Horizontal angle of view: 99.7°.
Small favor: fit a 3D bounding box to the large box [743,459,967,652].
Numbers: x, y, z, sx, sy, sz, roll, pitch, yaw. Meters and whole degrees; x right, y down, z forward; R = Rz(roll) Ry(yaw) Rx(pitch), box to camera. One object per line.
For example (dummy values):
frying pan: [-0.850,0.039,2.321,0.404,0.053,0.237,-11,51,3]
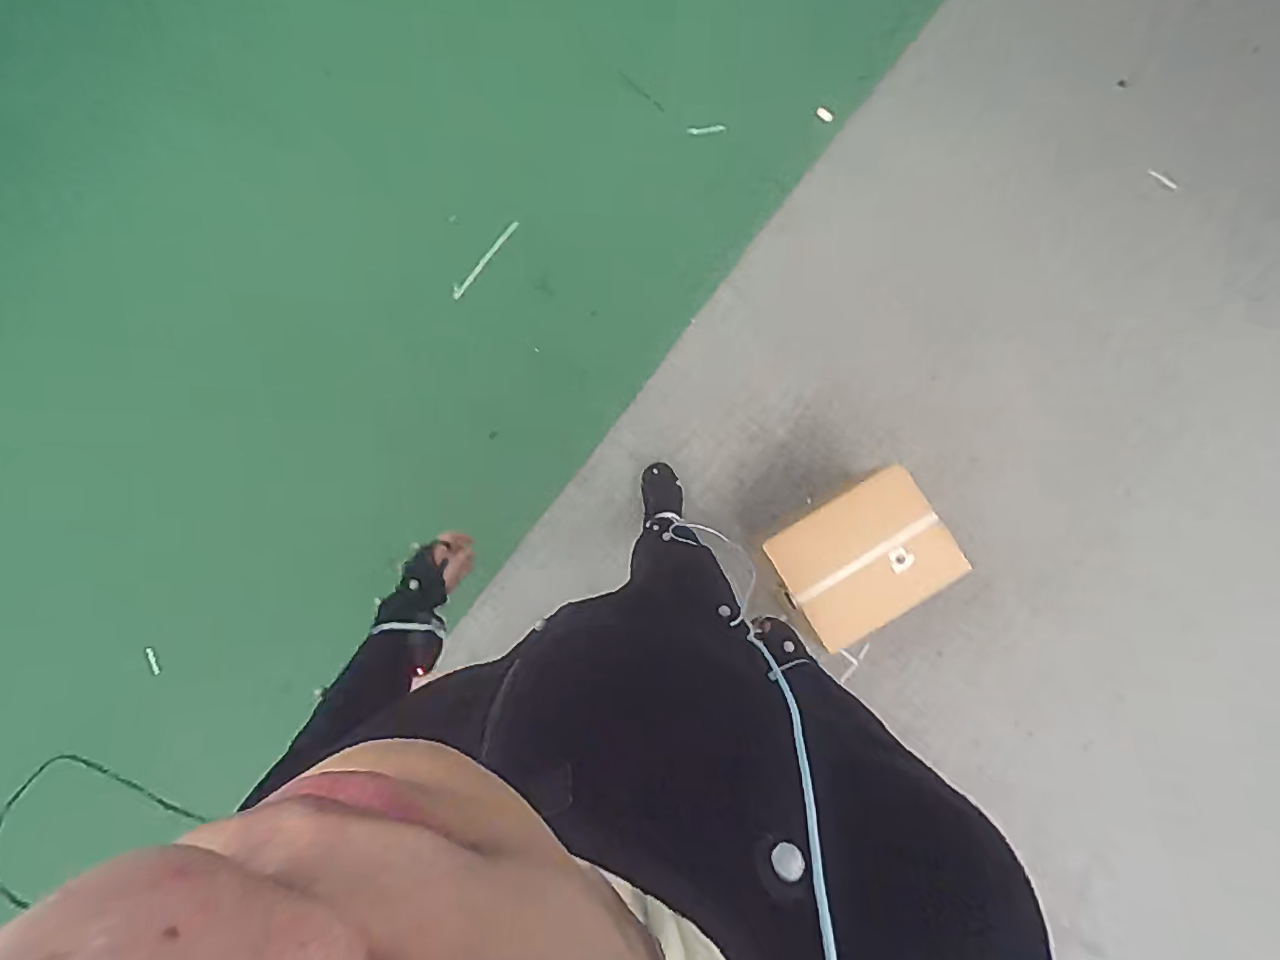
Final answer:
large box: [0.542,0.196,1.447,0.408,0.320,0.320,-31,85,-1]
